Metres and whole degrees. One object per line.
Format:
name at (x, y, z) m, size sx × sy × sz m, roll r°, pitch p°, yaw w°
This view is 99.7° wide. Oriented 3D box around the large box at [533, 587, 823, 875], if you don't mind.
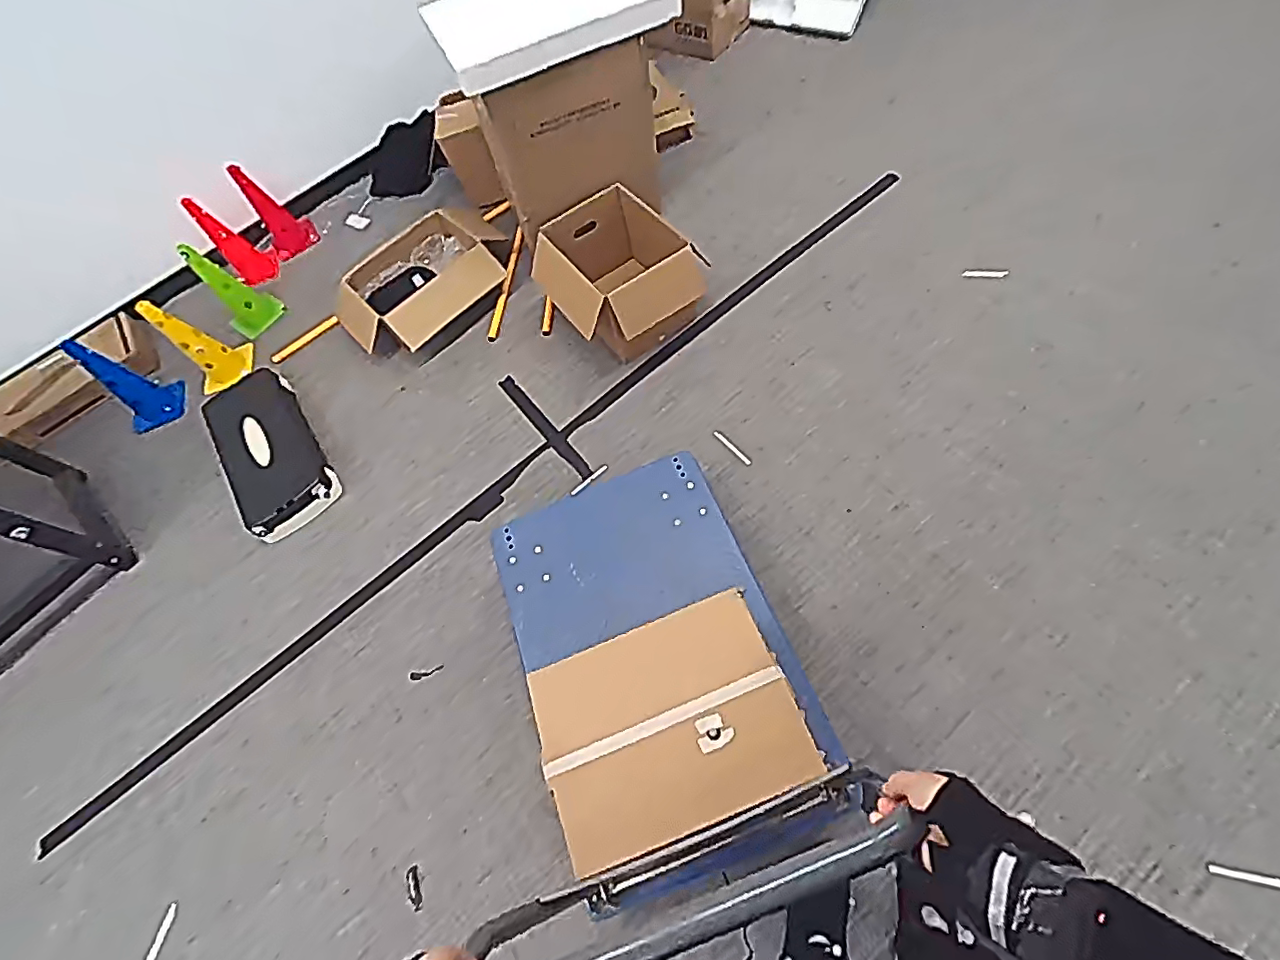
large box at (0.068, 0.459, 1.008) m, size 0.408 × 0.320 × 0.320 m, roll -23°, pitch 61°, yaw -2°
